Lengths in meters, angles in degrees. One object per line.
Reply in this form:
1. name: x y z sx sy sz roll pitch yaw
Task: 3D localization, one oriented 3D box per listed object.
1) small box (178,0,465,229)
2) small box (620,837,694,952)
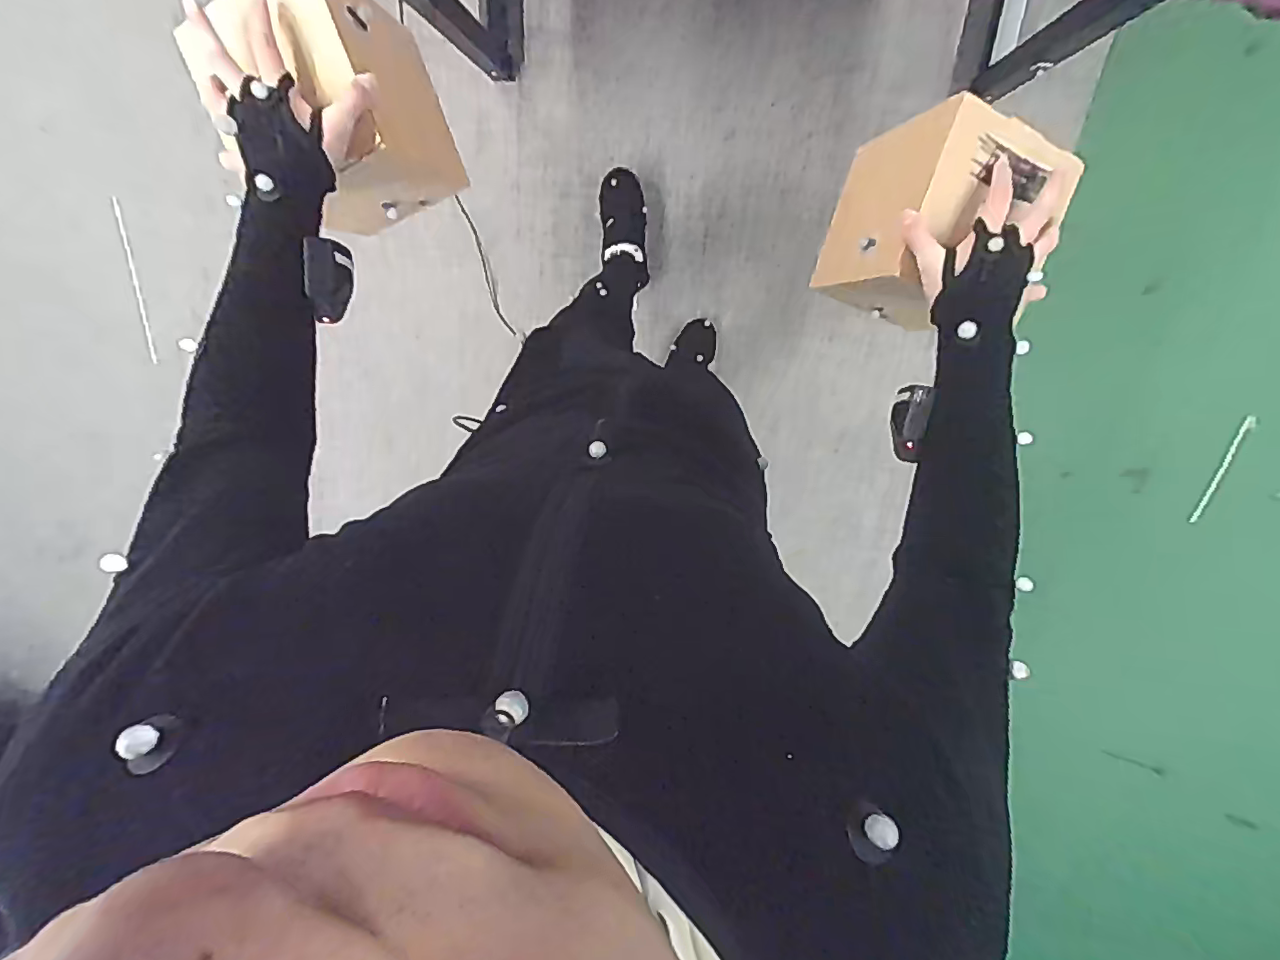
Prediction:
1. small box: -0.326 -0.400 0.588 0.168 0.176 0.179 -16 102 16
2. small box: 0.051 1.124 1.473 0.168 0.176 0.179 11 112 3
